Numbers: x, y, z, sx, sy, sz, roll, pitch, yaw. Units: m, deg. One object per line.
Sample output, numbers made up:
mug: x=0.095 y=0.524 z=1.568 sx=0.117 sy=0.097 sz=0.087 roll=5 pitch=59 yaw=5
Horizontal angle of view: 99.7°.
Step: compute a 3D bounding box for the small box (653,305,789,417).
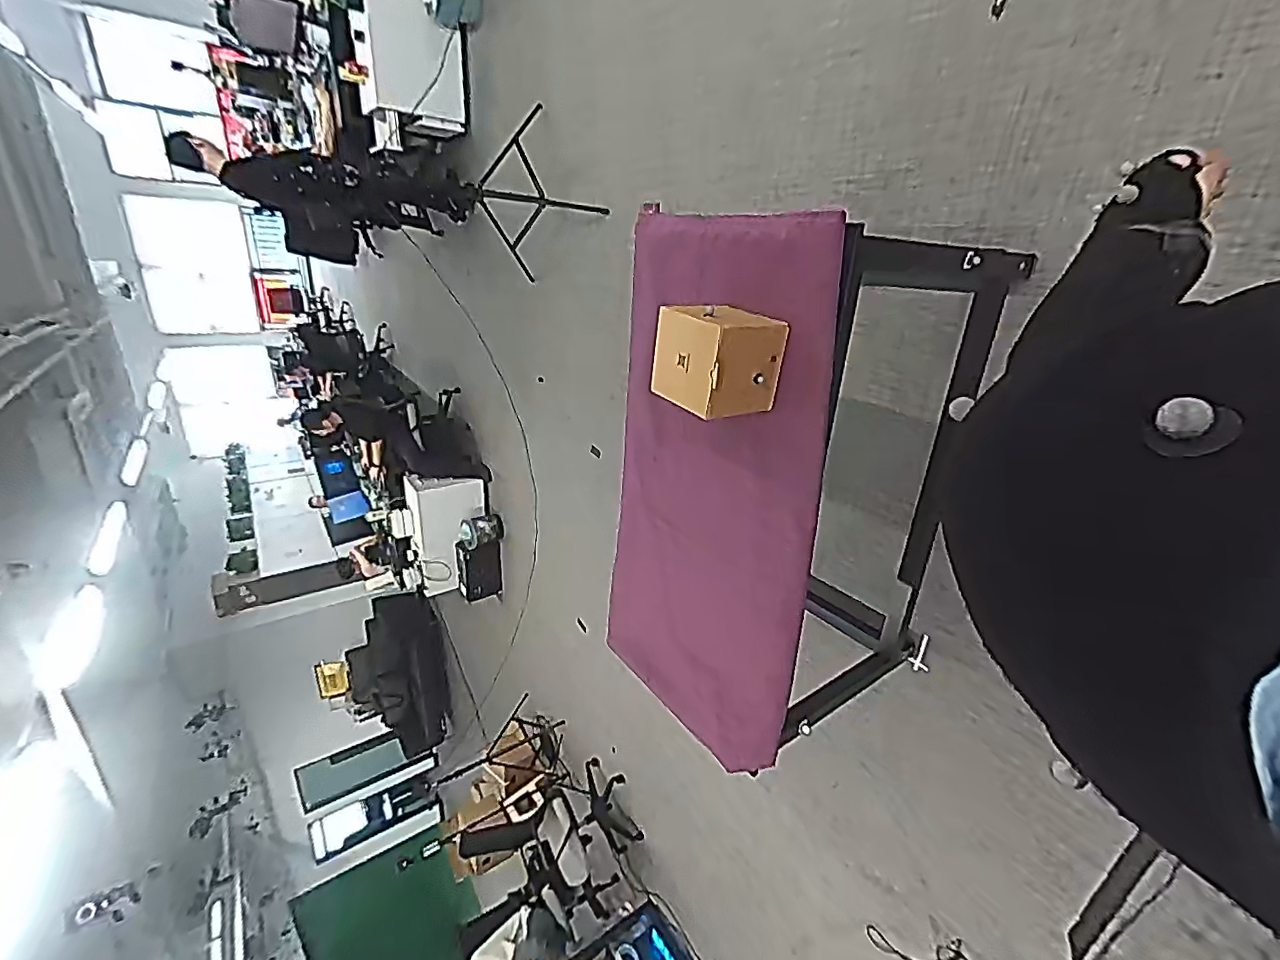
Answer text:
small box: x=0.148 y=-0.229 z=1.022 sx=0.179 sy=0.176 sz=0.168 roll=37 pitch=130 yaw=46
